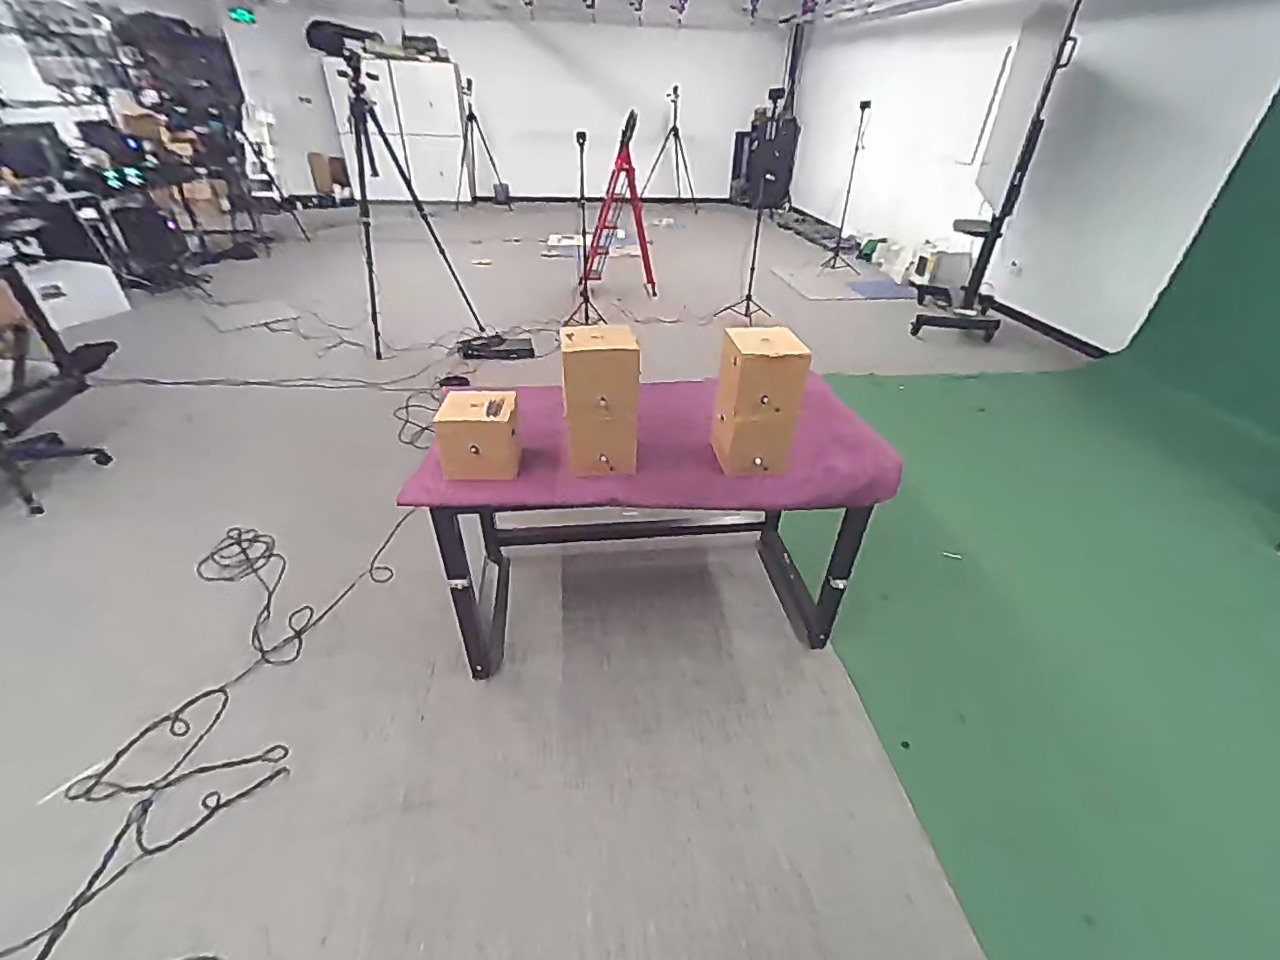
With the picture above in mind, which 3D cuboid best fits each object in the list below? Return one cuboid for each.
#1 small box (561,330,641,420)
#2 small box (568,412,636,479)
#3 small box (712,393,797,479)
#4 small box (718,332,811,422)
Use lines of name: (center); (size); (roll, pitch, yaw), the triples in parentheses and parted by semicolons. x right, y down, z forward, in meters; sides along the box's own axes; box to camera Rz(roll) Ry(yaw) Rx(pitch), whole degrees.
small box: (-0.099, -0.253, 1.305); (0.179, 0.176, 0.168); (-3, 33, -9)
small box: (-0.103, -0.119, 1.398); (0.168, 0.176, 0.179); (-4, 34, -8)
small box: (0.291, -0.118, 1.421); (0.168, 0.176, 0.179); (-3, 35, -6)
small box: (0.297, -0.254, 1.333); (0.168, 0.176, 0.179); (-3, 35, -7)
